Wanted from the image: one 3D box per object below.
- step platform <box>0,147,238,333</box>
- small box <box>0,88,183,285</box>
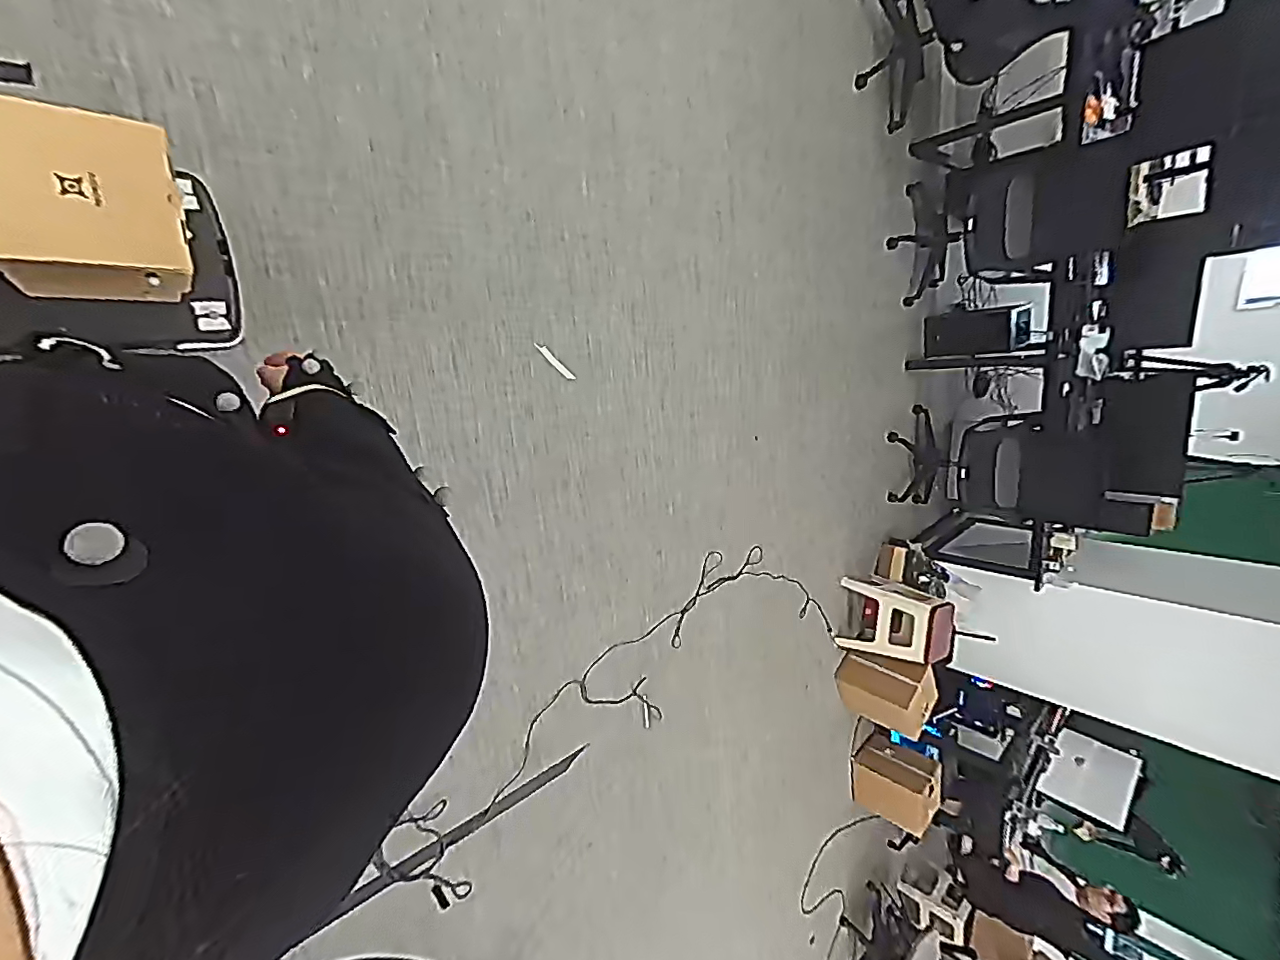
[{"bbox_3d":[-1.022,-0.360,0.797,0.684,0.204,0.286,-17,107,-39],"label":"step platform"},{"bbox_3d":[-0.682,-0.337,0.653,0.179,0.176,0.168,-13,105,-41],"label":"small box"}]
